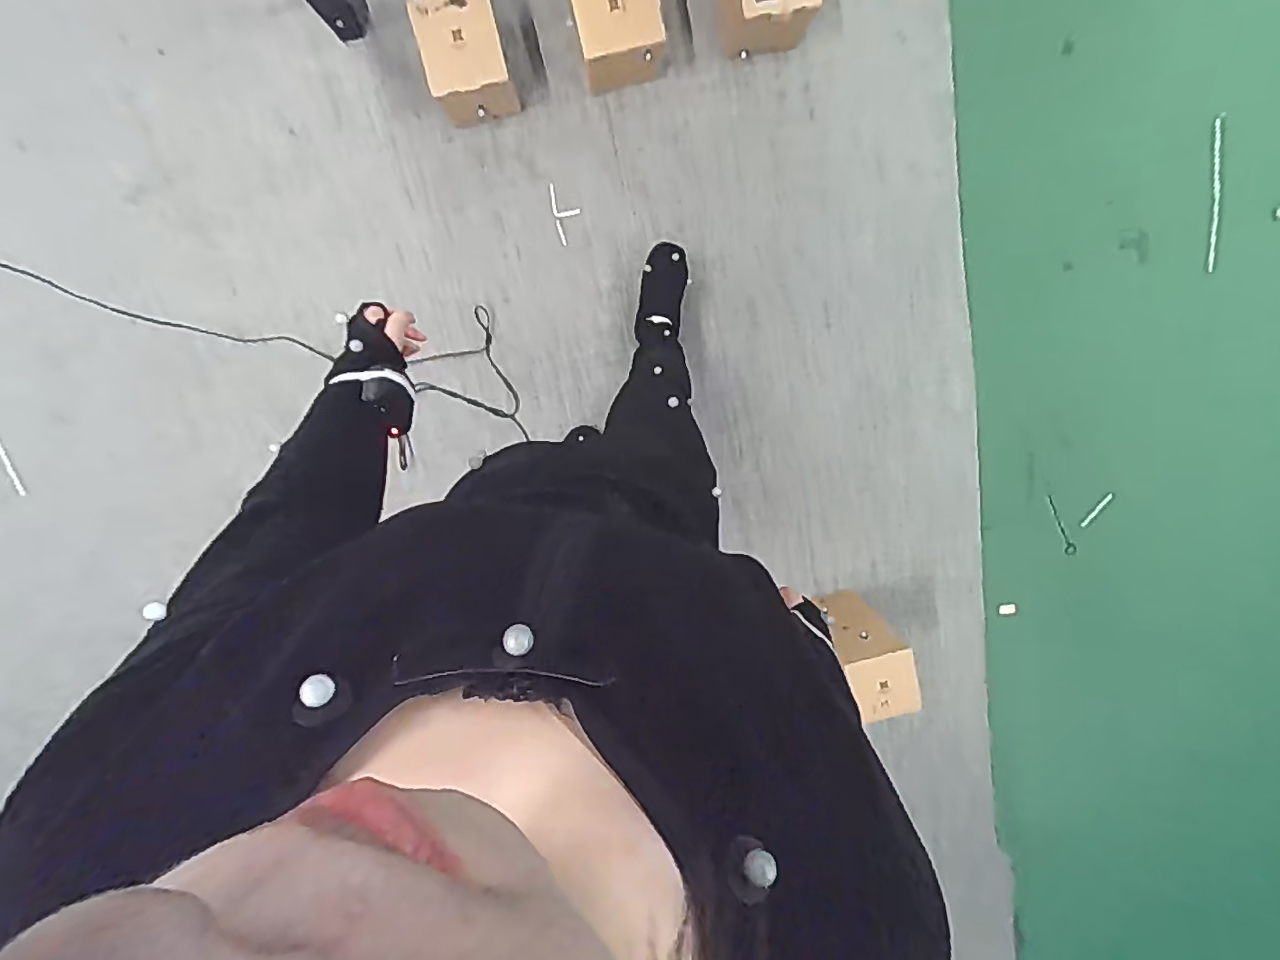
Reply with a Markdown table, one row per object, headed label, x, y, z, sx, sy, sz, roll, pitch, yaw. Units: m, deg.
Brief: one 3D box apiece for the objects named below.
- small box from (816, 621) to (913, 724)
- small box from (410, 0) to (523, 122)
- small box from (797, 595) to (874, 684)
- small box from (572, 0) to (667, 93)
| label | x | y | z | sx | sy | sz | roll | pitch | yaw |
| --- | --- | --- | --- | --- | --- | --- | --- | --- | --- |
| small box | 0.564 | 0.478 | 1.376 | 0.168 | 0.176 | 0.179 | -14 | 104 | 2 |
| small box | -0.364 | -0.906 | 1.170 | 0.168 | 0.176 | 0.179 | -11 | 105 | 2 |
| small box | 0.557 | 0.442 | 1.536 | 0.168 | 0.176 | 0.179 | -12 | 104 | 2 |
| small box | -0.047 | -0.975 | 1.167 | 0.179 | 0.176 | 0.168 | -14 | 104 | 1 |
